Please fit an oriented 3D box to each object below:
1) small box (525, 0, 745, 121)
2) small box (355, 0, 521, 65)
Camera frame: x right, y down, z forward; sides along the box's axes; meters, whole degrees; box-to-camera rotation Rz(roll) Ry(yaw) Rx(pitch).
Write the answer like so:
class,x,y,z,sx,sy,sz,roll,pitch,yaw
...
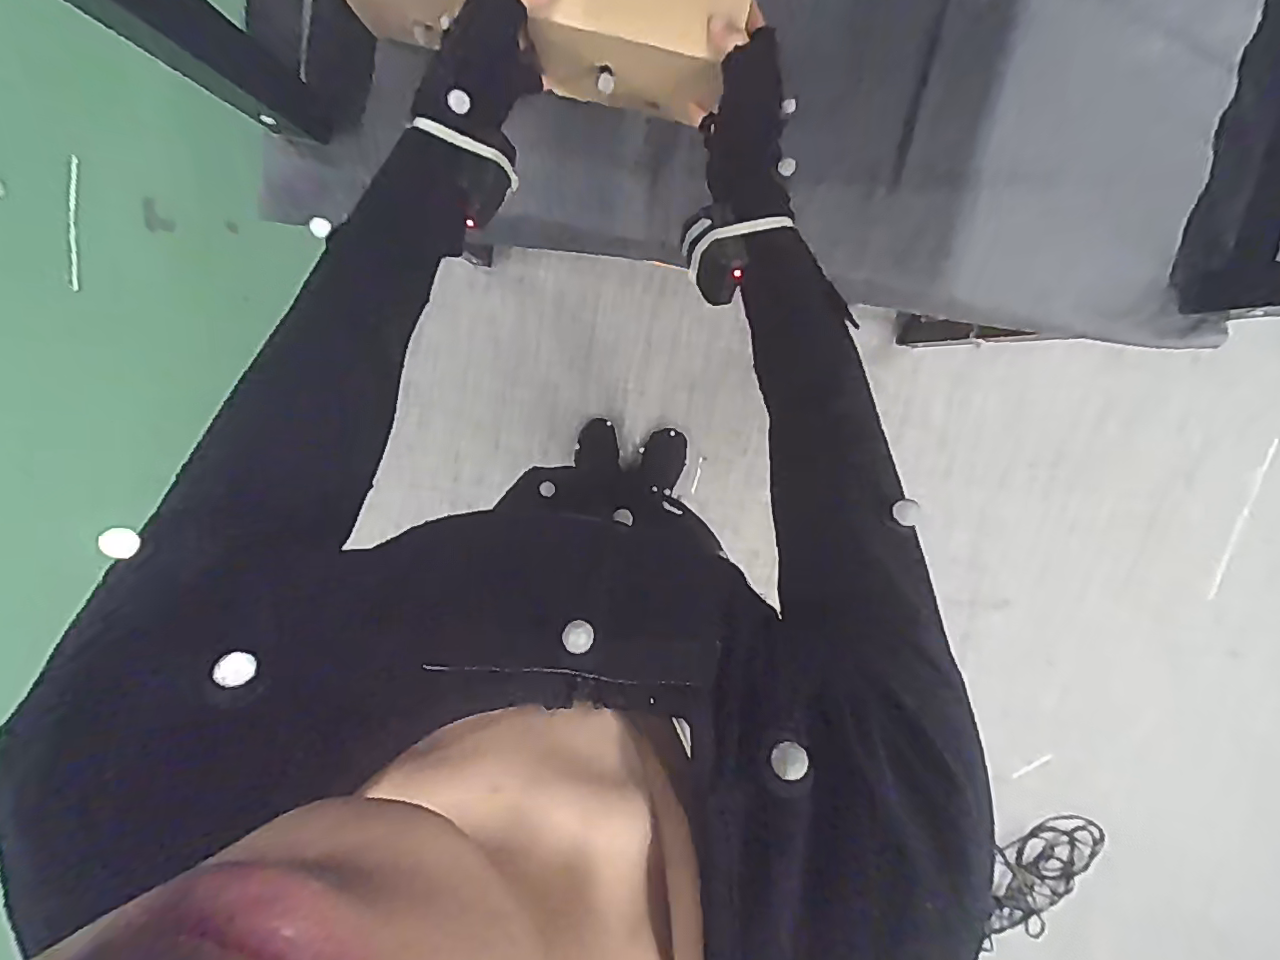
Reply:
class,x,y,z,sx,sy,sz,roll,pitch,yaw
small box,0.008,-0.439,0.459,0.168,0.176,0.179,10,108,-4
small box,-0.212,-0.566,0.535,0.168,0.176,0.179,10,102,-3
